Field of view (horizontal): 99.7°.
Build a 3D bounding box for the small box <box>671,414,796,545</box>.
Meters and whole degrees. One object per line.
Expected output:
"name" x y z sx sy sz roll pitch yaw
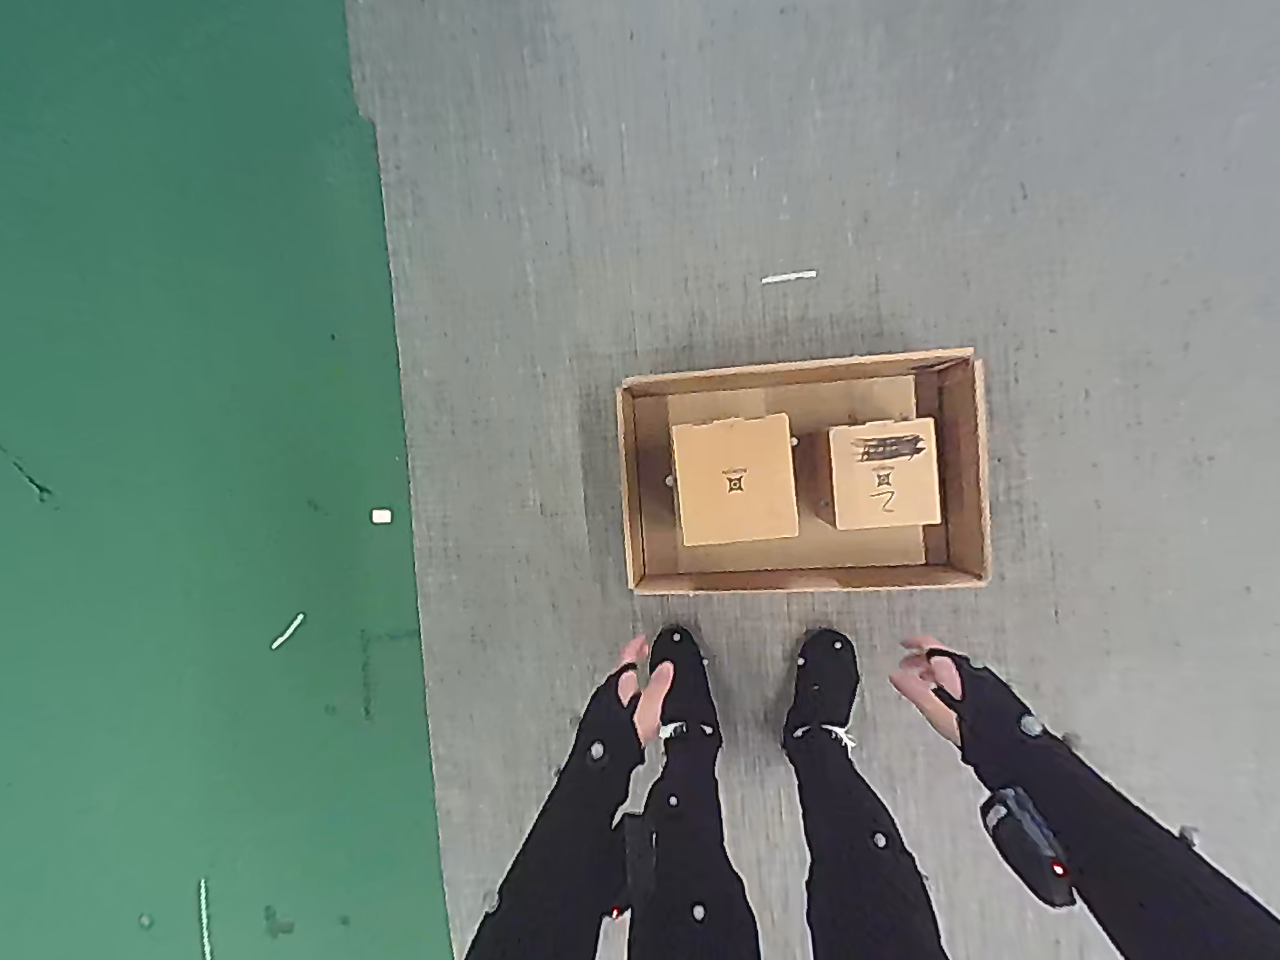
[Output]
"small box" 0.143 -0.002 0.844 0.168 0.176 0.179 -6 90 7
